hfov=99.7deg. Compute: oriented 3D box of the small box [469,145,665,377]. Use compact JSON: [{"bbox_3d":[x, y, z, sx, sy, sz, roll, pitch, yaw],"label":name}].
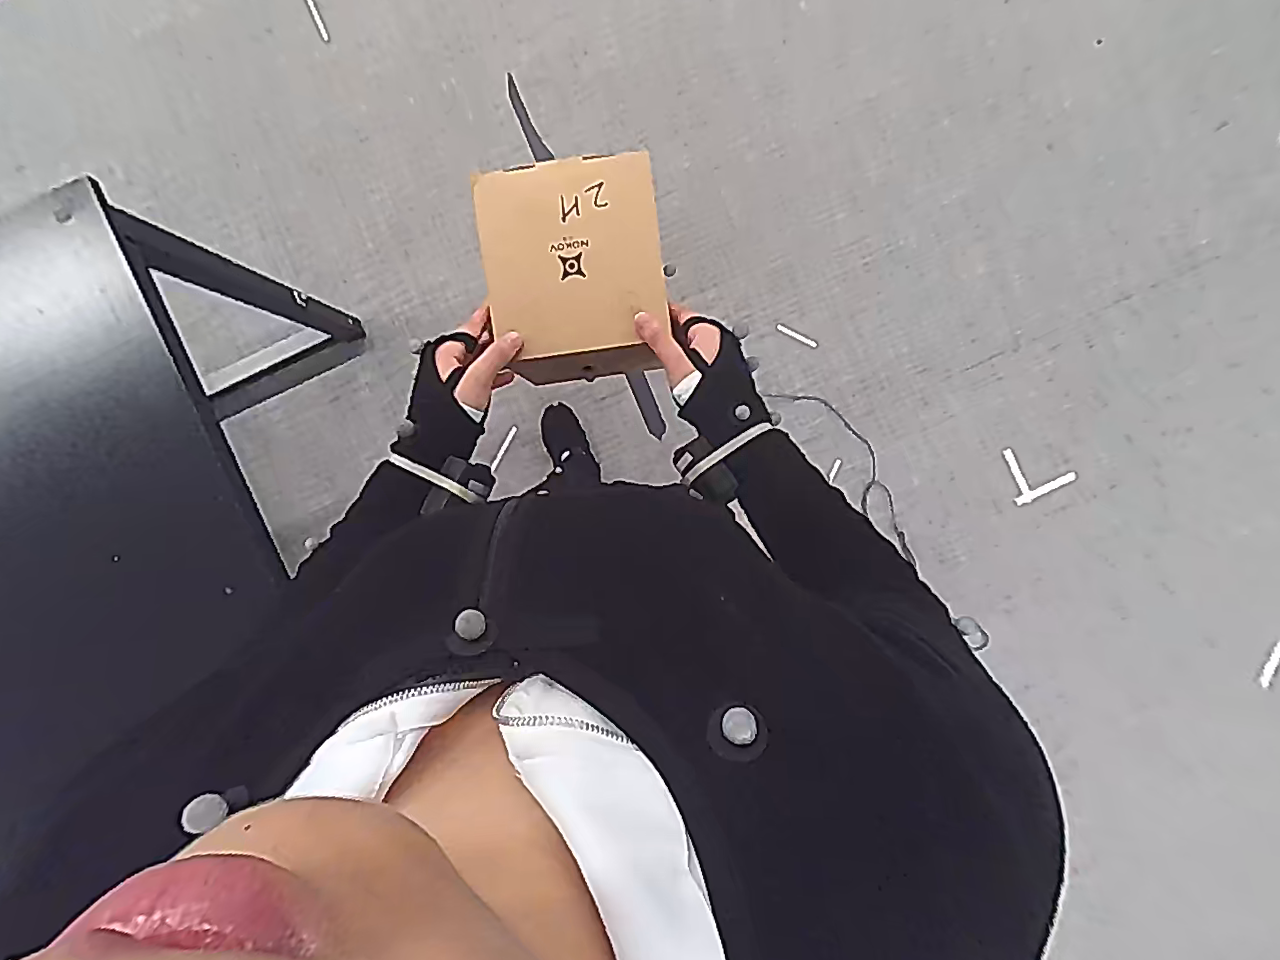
[{"bbox_3d":[-0.063,-0.211,0.574,0.168,0.176,0.179,-8,91,2],"label":"small box"}]
